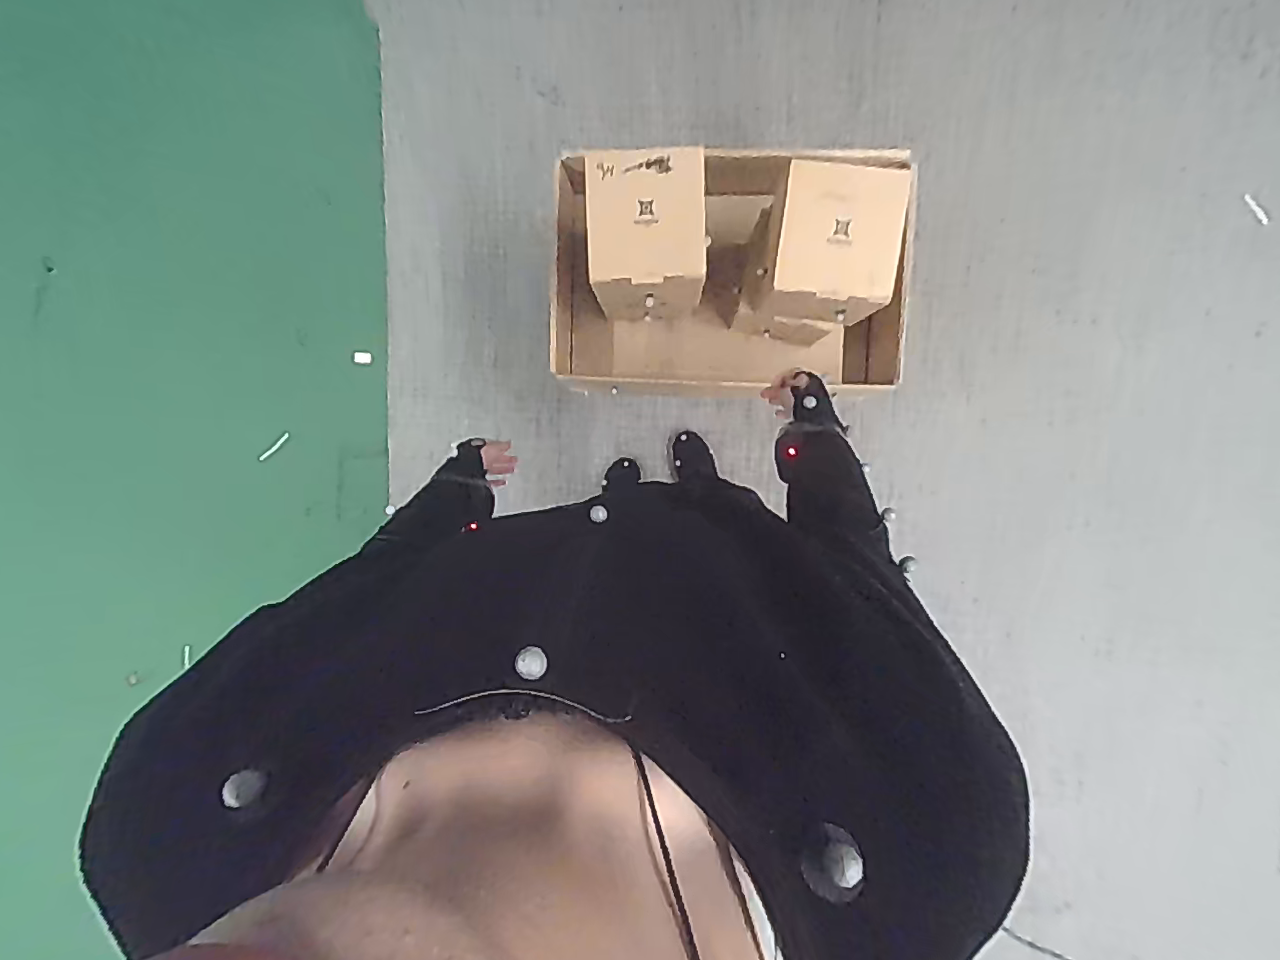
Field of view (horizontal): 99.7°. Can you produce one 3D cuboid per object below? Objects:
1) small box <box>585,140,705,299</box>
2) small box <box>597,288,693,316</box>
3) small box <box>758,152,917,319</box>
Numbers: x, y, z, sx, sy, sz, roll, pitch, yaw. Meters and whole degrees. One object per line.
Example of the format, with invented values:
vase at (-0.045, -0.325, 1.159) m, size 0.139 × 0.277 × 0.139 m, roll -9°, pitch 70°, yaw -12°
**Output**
small box at (0.012, -0.375, 0.813) m, size 0.168 × 0.176 × 0.179 m, roll -1°, pitch 96°, yaw 3°
small box at (0.012, -0.405, 0.975) m, size 0.168 × 0.176 × 0.179 m, roll -1°, pitch 95°, yaw 4°
small box at (0.278, -0.348, 0.803) m, size 0.168 × 0.176 × 0.179 m, roll 8°, pitch 96°, yaw 1°
